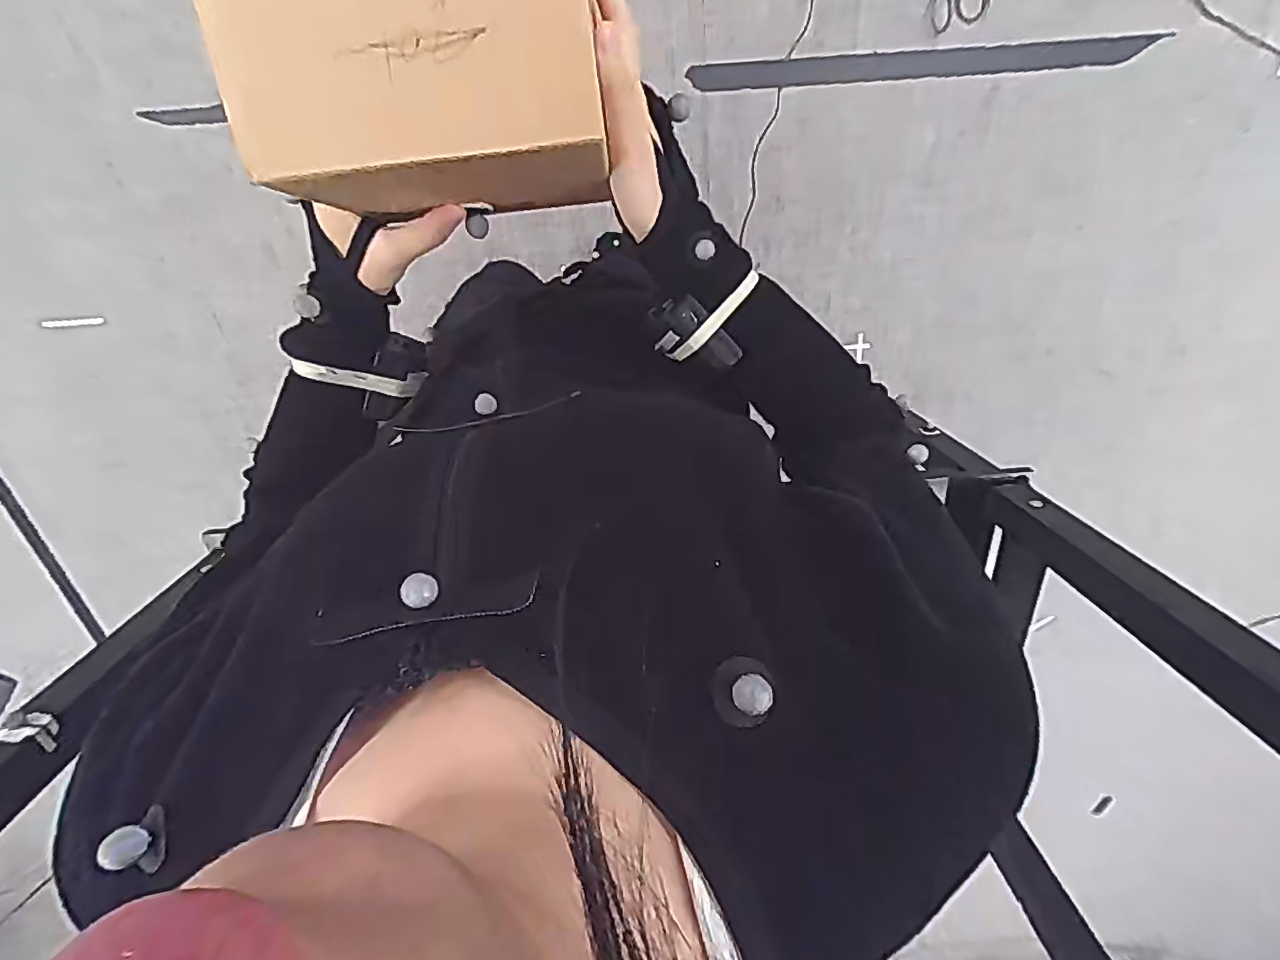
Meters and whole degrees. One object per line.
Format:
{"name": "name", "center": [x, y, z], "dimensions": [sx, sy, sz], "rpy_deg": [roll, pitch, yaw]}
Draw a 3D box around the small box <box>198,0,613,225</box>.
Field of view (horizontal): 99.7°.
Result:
{"name": "small box", "center": [-0.105, -0.250, 0.292], "dimensions": [0.168, 0.176, 0.179], "rpy_deg": [-6, 109, 0]}
